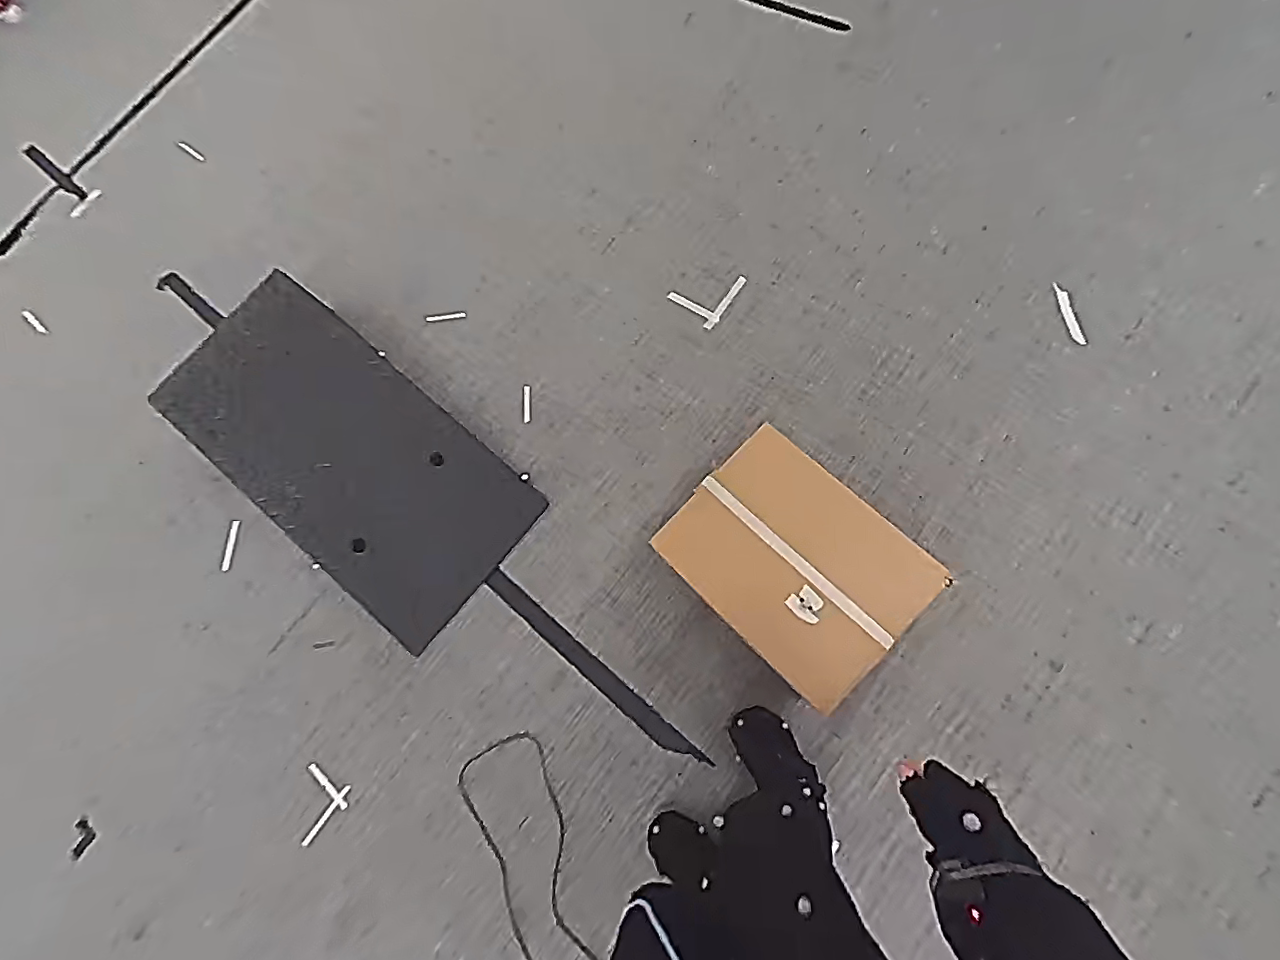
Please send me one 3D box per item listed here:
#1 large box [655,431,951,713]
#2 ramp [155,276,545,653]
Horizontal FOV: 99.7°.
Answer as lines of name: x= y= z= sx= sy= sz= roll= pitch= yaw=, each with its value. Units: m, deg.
large box: x=0.289 y=0.178 z=1.068 sx=0.320 sy=0.320 sz=0.408 roll=-46 pitch=72 yaw=-3
ramp: x=-0.759 y=-0.071 z=1.402 sx=0.991 sy=0.206 sz=0.509 roll=37 pitch=83 yaw=18
